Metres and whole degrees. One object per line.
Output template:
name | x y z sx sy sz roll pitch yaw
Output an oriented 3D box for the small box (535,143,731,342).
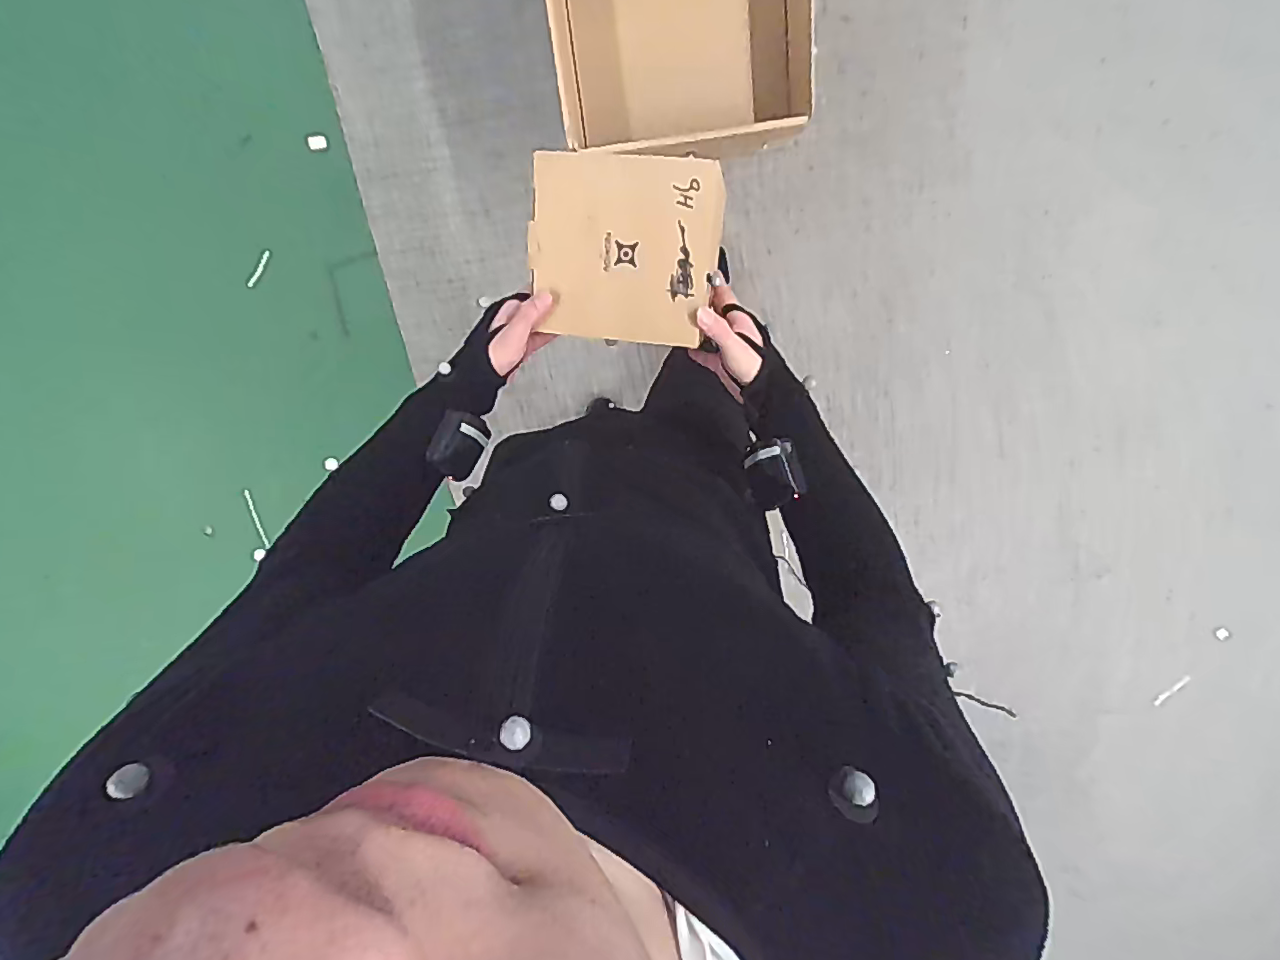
small box | 0.000 -0.248 0.588 0.179 0.176 0.168 8 111 8
